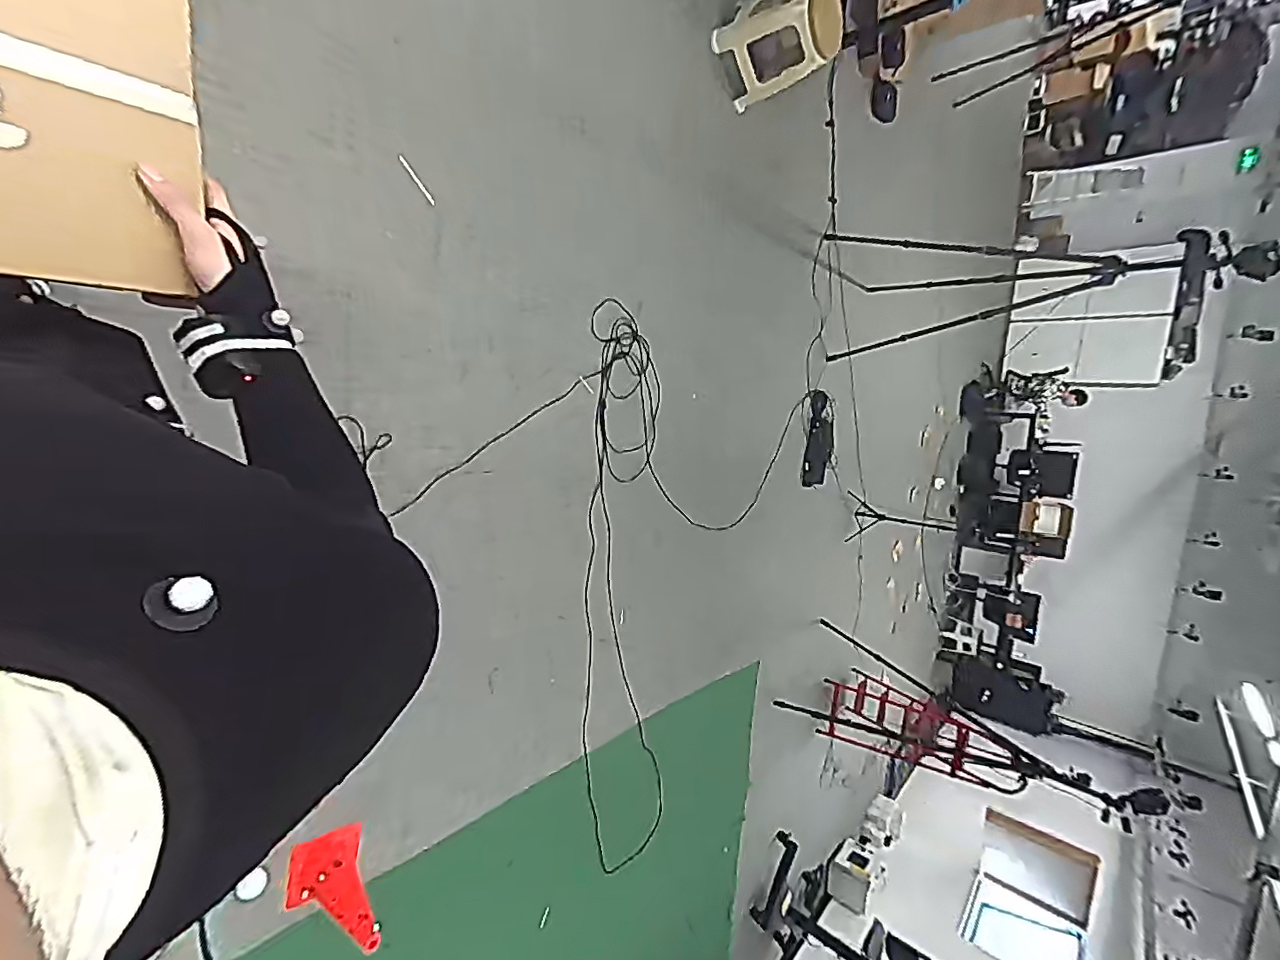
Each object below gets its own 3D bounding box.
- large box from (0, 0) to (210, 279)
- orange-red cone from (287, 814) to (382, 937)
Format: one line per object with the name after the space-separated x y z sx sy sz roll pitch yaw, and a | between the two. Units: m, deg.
-0.639 -0.351 0.426 0.408 0.320 0.320 -10 113 -49 | large box
-0.840 1.179 1.560 0.199 0.360 0.198 6 94 -50 | orange-red cone
